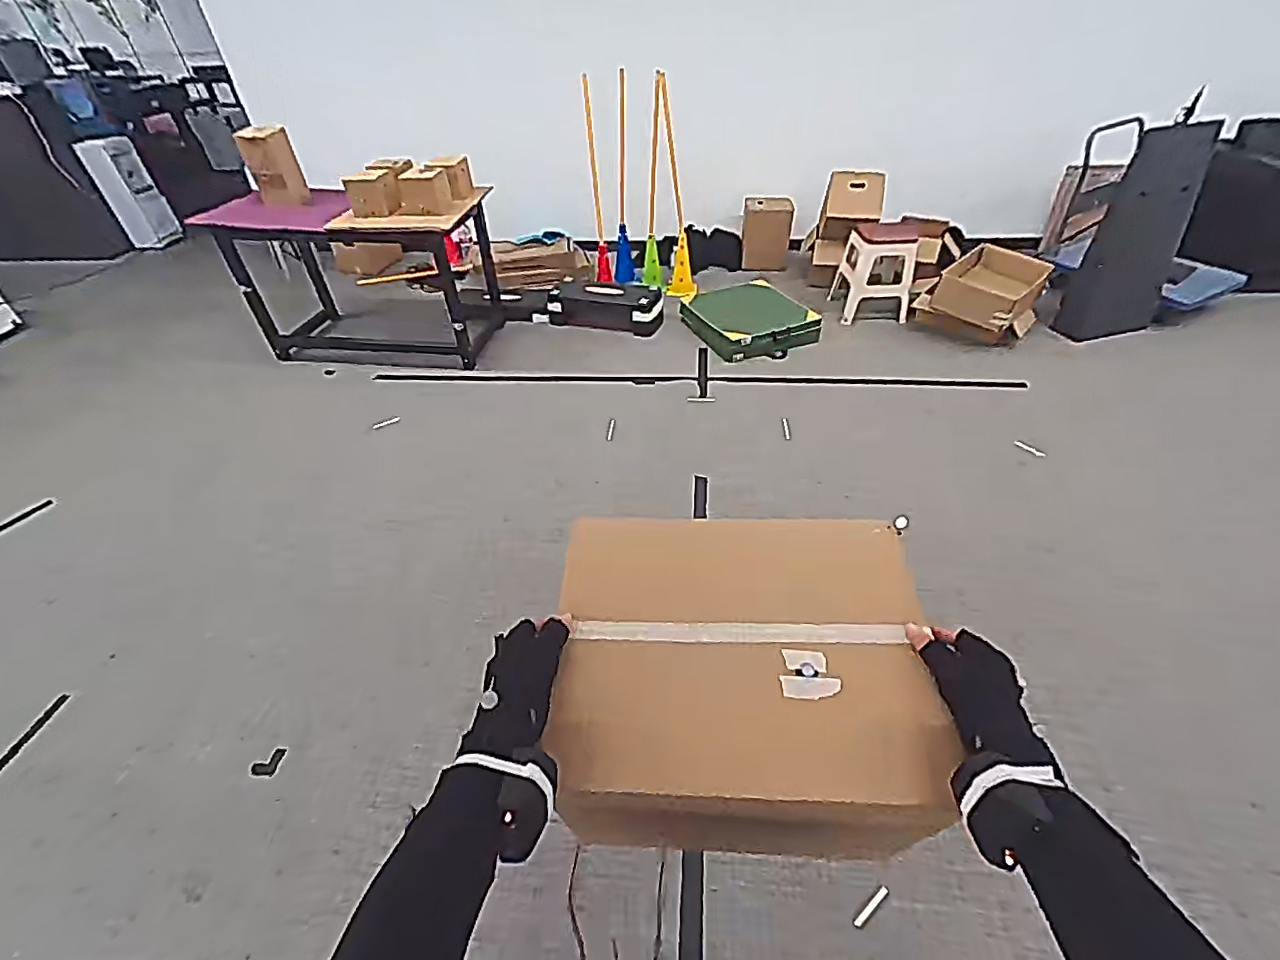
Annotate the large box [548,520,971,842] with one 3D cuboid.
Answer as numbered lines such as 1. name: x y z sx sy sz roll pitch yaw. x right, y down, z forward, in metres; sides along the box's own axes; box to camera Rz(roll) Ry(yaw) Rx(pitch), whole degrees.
1. large box: 0.119 0.267 0.713 0.408 0.320 0.320 0 49 4
